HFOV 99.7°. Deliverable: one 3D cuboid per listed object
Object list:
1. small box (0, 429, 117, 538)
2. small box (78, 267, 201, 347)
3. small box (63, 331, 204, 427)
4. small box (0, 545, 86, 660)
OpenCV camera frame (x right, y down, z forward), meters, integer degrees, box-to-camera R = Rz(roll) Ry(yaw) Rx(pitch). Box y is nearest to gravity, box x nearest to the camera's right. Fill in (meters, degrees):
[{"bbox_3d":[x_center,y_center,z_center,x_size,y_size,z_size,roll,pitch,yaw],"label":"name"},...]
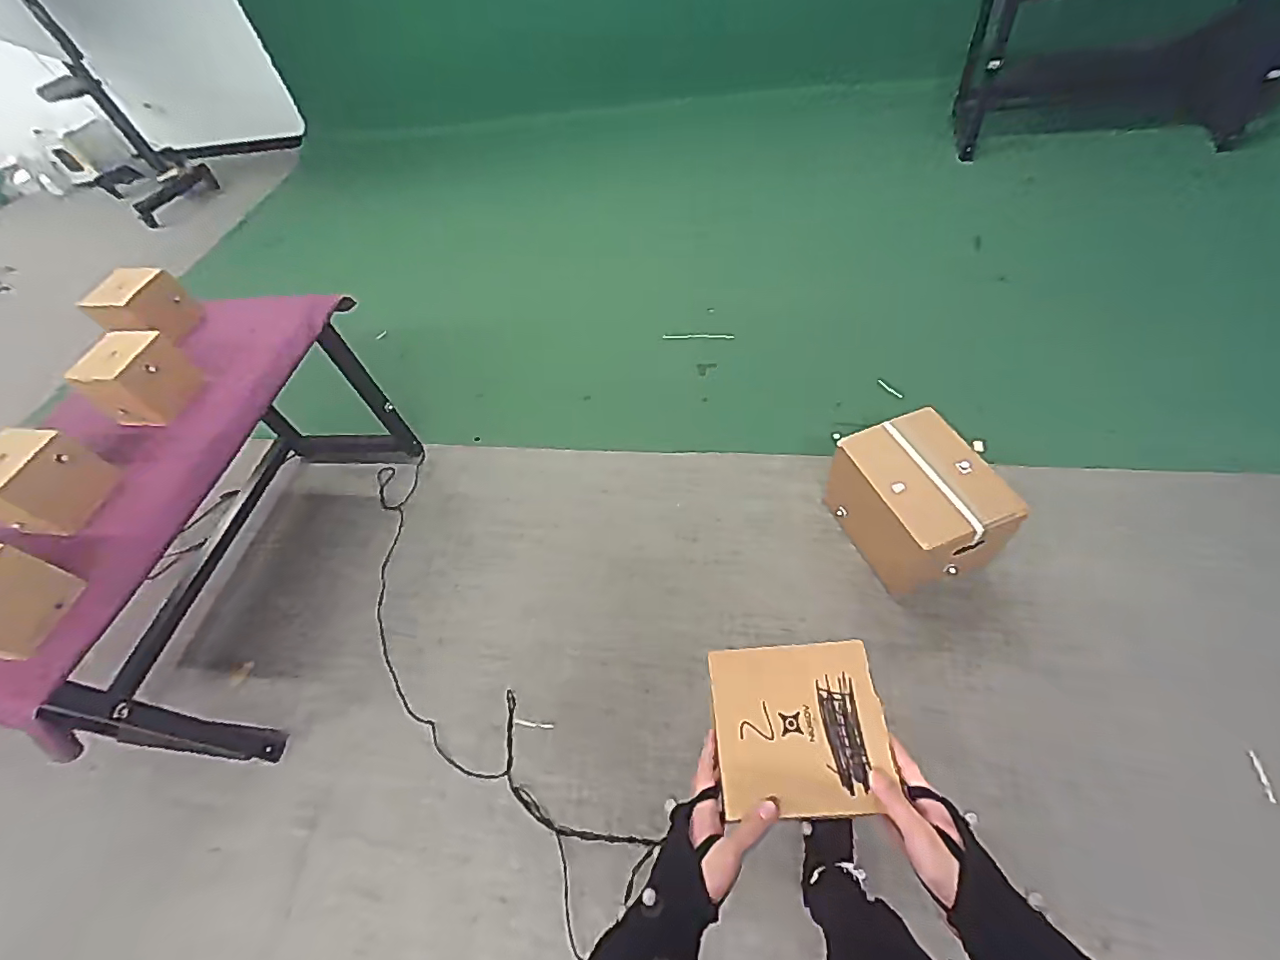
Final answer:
[{"bbox_3d":[-1.338,0.008,1.203,0.168,0.176,0.179,3,55,13],"label":"small box"},{"bbox_3d":[-1.451,-0.500,1.587,0.168,0.176,0.179,4,57,12],"label":"small box"},{"bbox_3d":[-1.281,-0.259,1.388,0.168,0.176,0.179,3,56,12],"label":"small box"},{"bbox_3d":[-1.242,0.232,1.022,0.179,0.176,0.168,0,55,12],"label":"small box"}]
